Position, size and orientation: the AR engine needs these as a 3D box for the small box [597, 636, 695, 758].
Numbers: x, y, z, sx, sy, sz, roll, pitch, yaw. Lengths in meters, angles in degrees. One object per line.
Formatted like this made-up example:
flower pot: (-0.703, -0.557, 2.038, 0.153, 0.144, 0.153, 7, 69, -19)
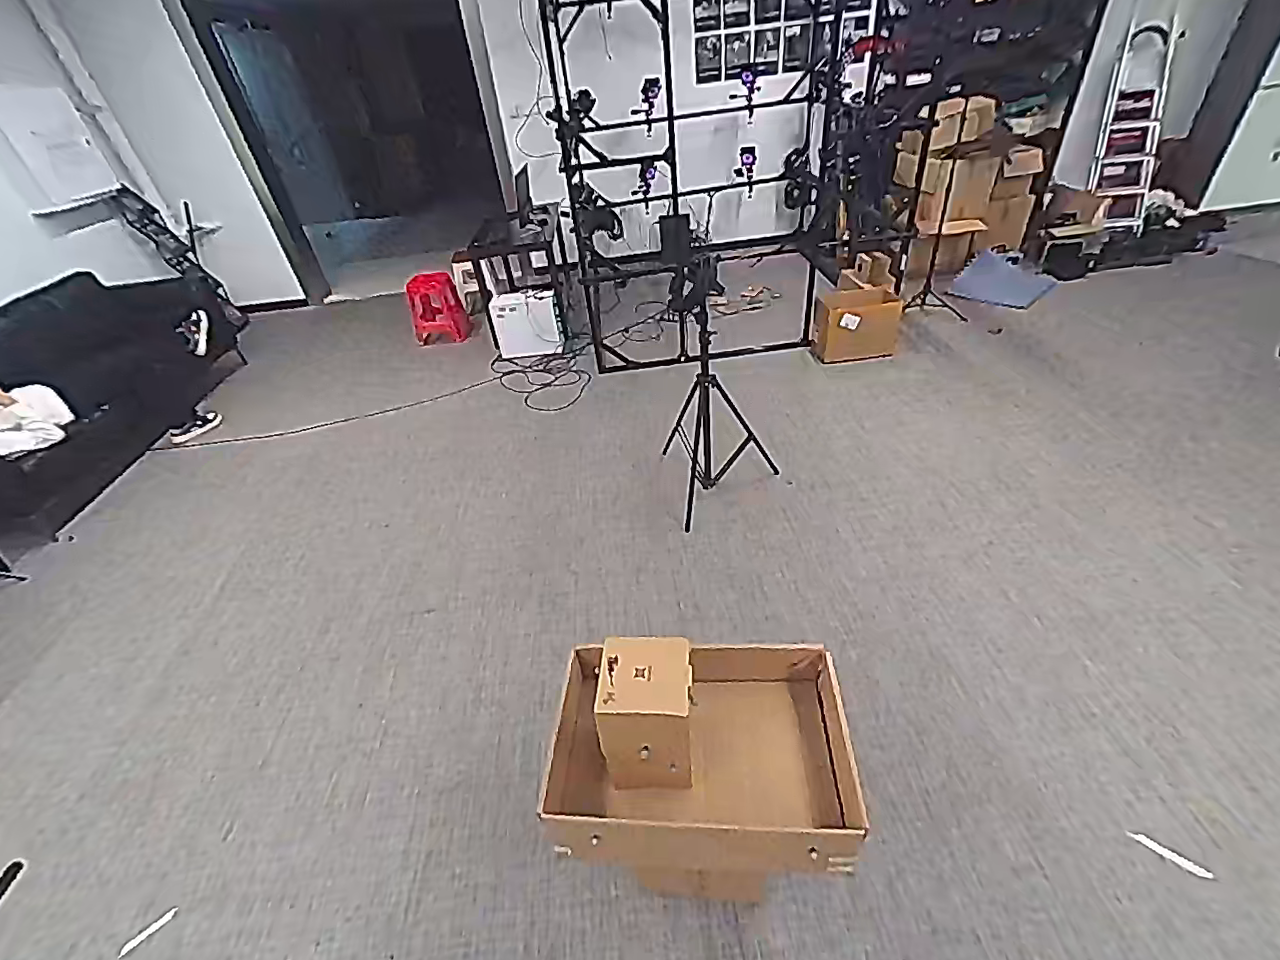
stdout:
small box: (0.019, 0.435, 1.082, 0.179, 0.176, 0.168, 0, 37, 6)
